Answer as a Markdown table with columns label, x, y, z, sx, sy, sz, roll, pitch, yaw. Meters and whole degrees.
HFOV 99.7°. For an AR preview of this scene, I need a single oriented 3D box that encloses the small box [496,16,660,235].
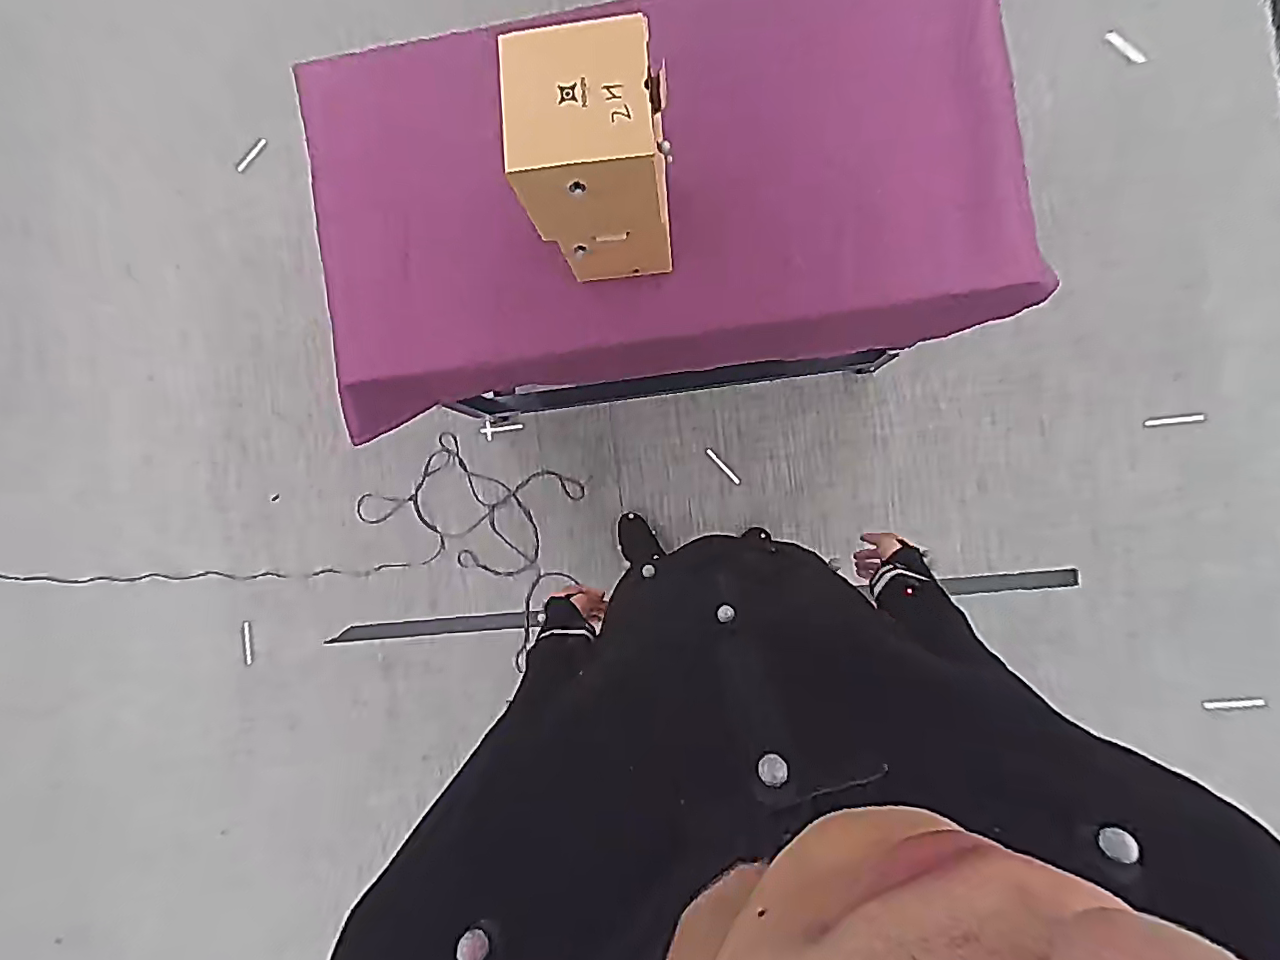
| label | x | y | z | sx | sy | sz | roll | pitch | yaw |
| --- | --- | --- | --- | --- | --- | --- | --- | --- | --- |
| small box | -0.070 | -0.435 | 0.695 | 0.179 | 0.176 | 0.168 | -4 | 88 | 5 |
